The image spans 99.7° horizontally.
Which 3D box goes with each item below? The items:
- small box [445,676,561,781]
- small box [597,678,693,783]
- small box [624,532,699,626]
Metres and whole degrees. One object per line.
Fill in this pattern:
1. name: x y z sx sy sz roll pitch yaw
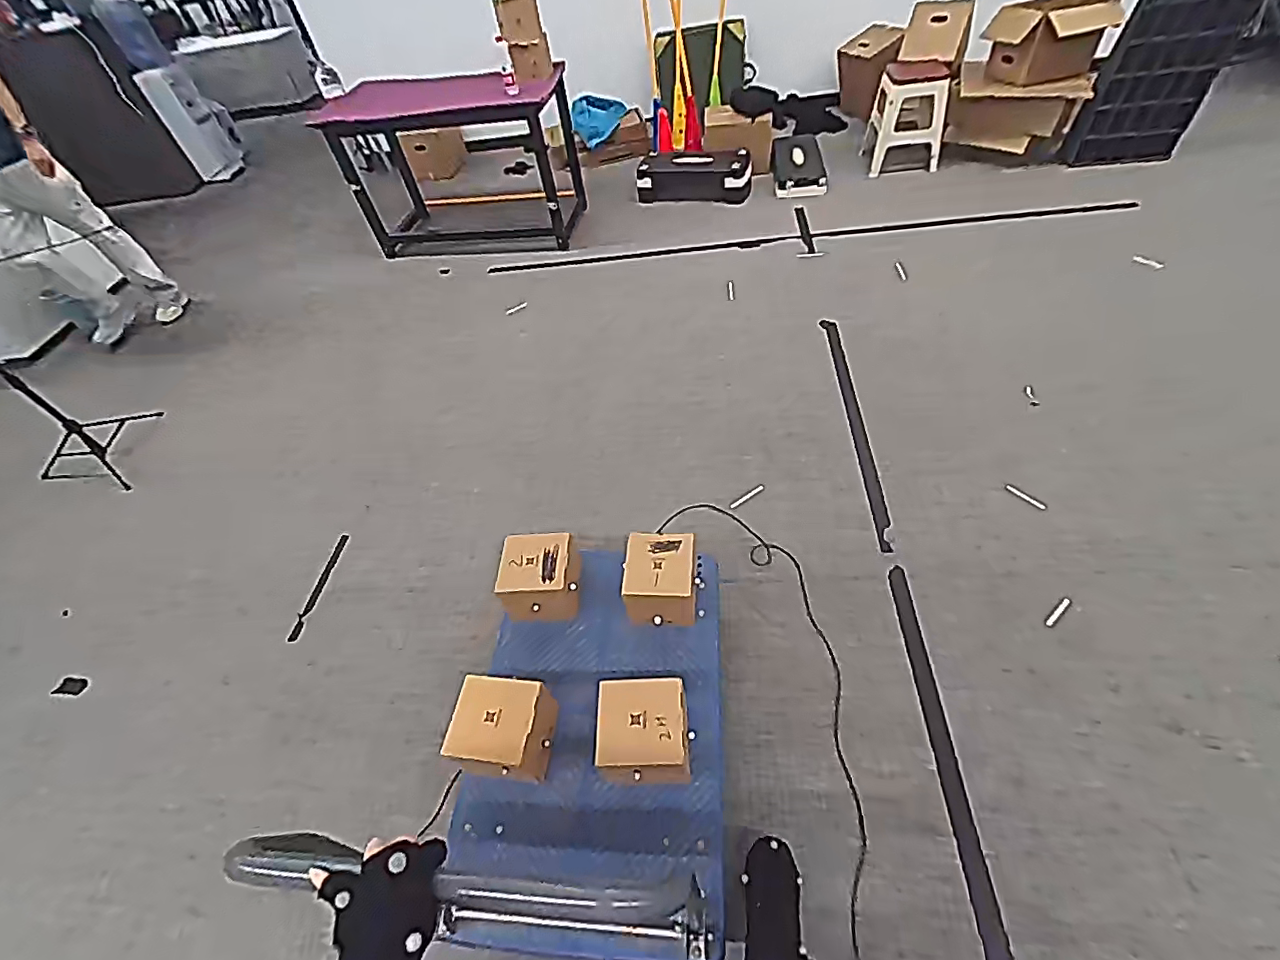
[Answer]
1. small box: -0.289 0.546 1.184 0.179 0.176 0.168 2 50 9
2. small box: 0.016 0.532 1.141 0.179 0.176 0.168 -5 50 6
3. small box: 0.061 0.251 1.368 0.168 0.176 0.179 0 52 10
